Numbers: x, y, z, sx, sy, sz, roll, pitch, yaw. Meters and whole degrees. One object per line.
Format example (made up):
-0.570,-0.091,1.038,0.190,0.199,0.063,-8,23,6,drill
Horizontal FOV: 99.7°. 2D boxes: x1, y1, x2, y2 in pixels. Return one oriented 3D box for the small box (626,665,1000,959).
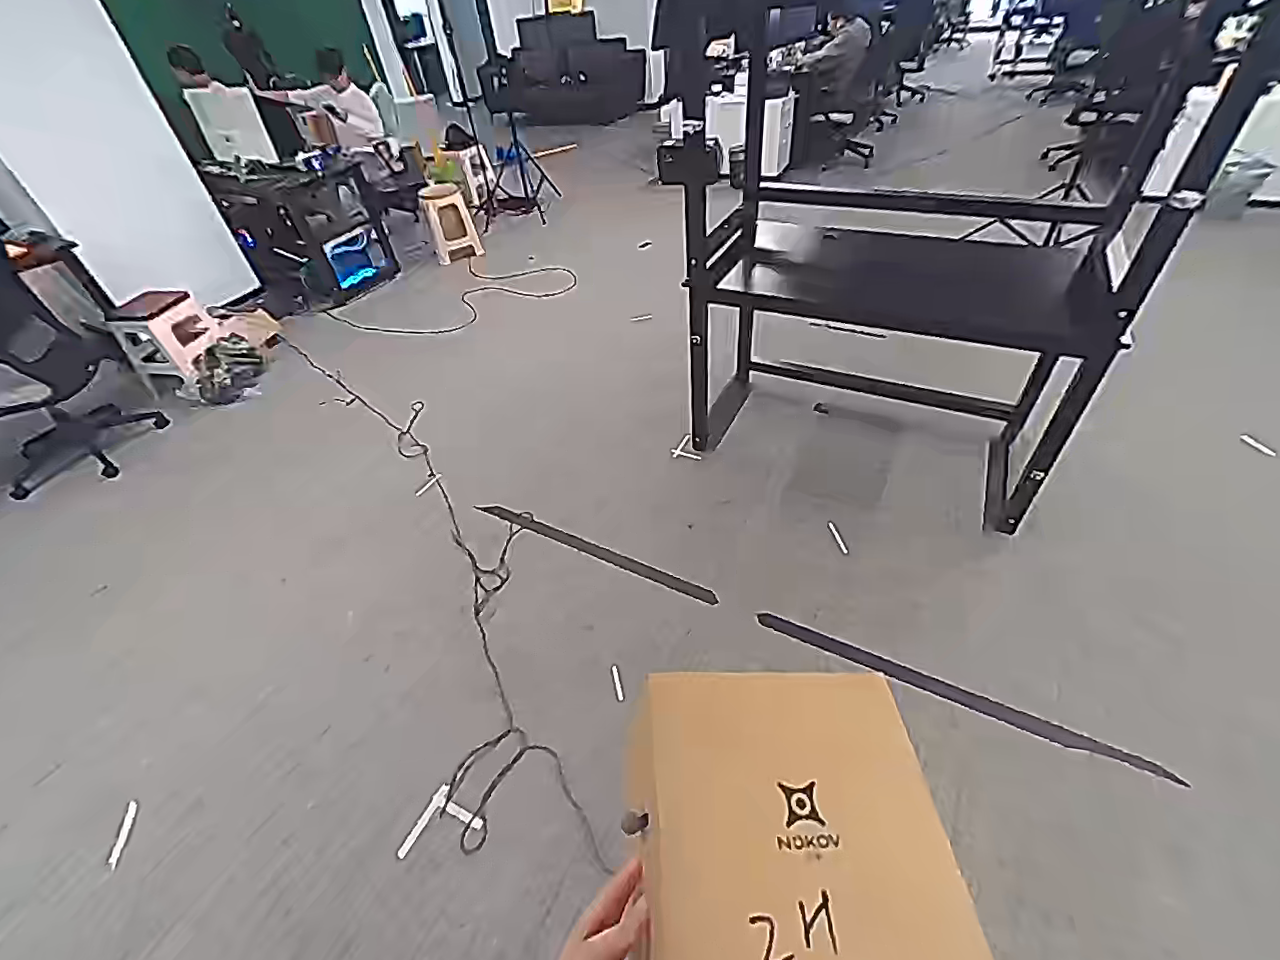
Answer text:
0.082,0.242,0.355,0.168,0.176,0.179,2,45,-7,small box
